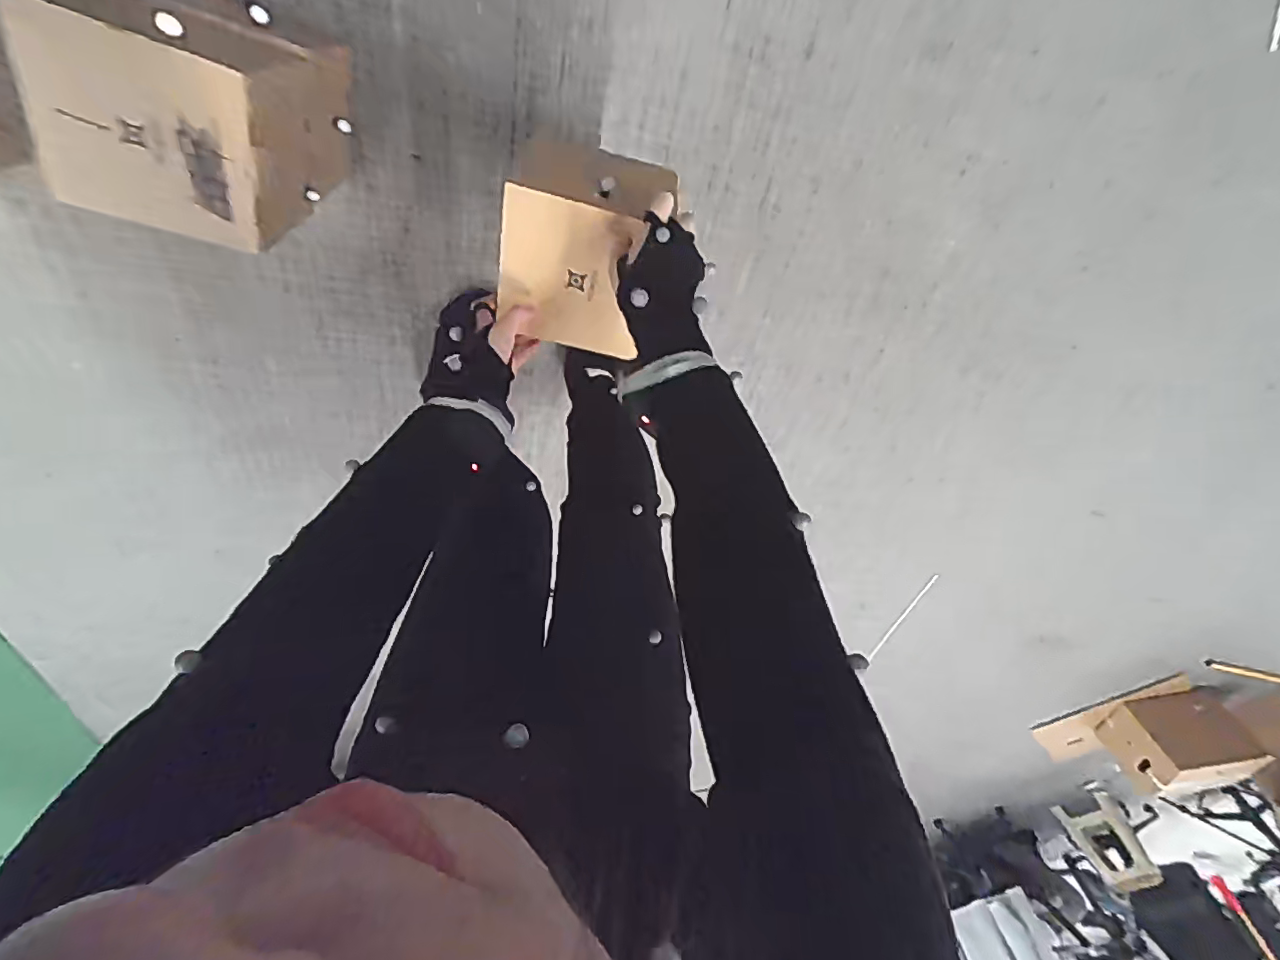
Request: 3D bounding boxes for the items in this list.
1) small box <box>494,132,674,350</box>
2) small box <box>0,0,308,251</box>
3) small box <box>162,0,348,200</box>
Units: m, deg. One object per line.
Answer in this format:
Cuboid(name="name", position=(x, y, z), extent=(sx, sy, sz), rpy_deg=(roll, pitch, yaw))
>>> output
Cuboid(name="small box", position=(-0.066, -0.287, 0.646), extent=(0.179, 0.176, 0.168), rpy_deg=(11, 138, -10))
Cuboid(name="small box", position=(-0.460, -0.367, 0.554), extent=(0.179, 0.176, 0.168), rpy_deg=(12, 128, -17))
Cuboid(name="small box", position=(-0.477, -0.481, 0.673), extent=(0.179, 0.176, 0.168), rpy_deg=(10, 128, -18))
